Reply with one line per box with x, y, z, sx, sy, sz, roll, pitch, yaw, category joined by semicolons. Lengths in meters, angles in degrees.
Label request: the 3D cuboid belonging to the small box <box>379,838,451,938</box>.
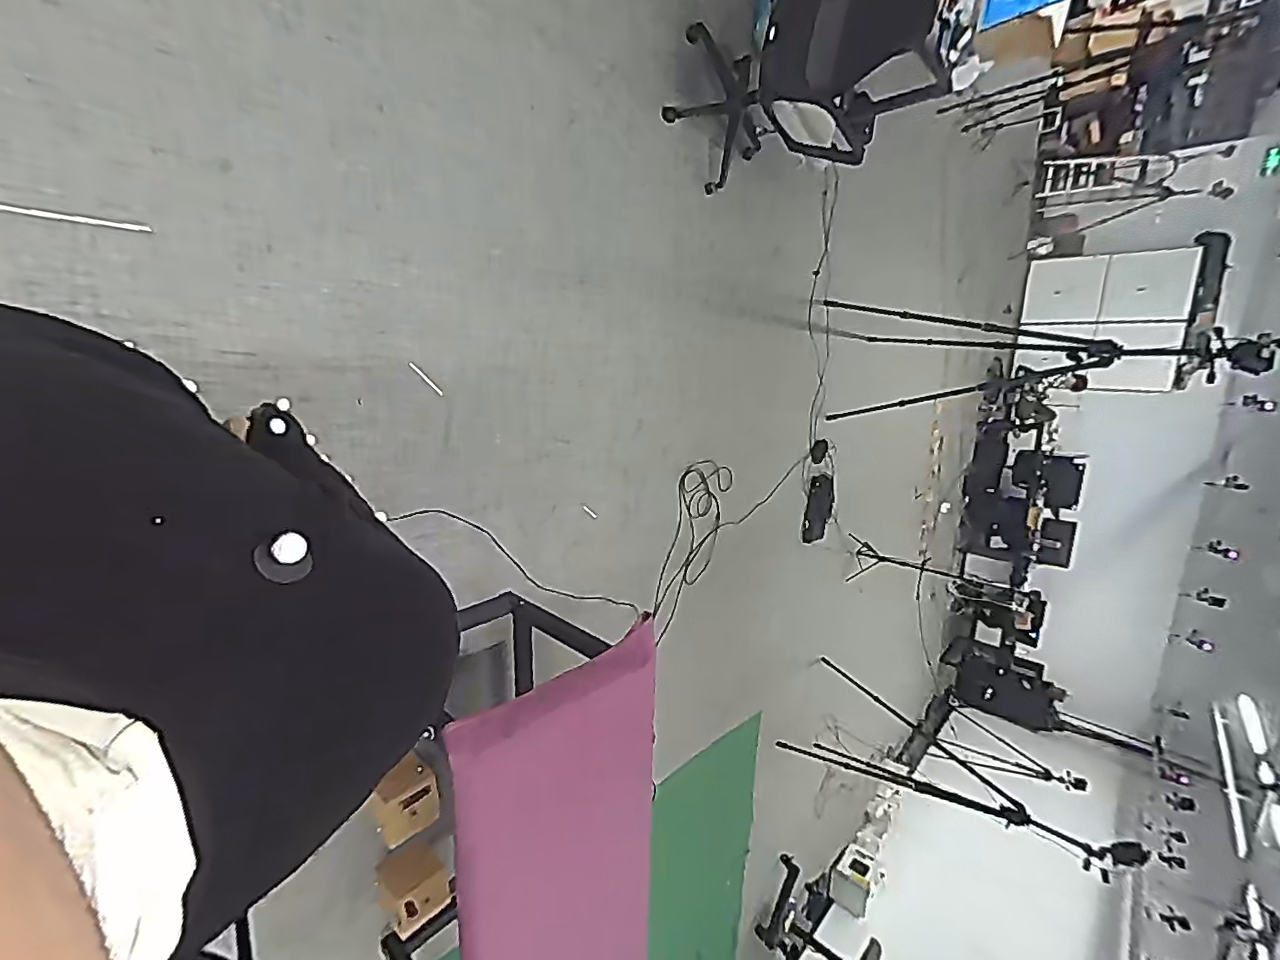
-0.776;1.388;1.852;0.179;0.176;0.168;-16;111;-46;small box
